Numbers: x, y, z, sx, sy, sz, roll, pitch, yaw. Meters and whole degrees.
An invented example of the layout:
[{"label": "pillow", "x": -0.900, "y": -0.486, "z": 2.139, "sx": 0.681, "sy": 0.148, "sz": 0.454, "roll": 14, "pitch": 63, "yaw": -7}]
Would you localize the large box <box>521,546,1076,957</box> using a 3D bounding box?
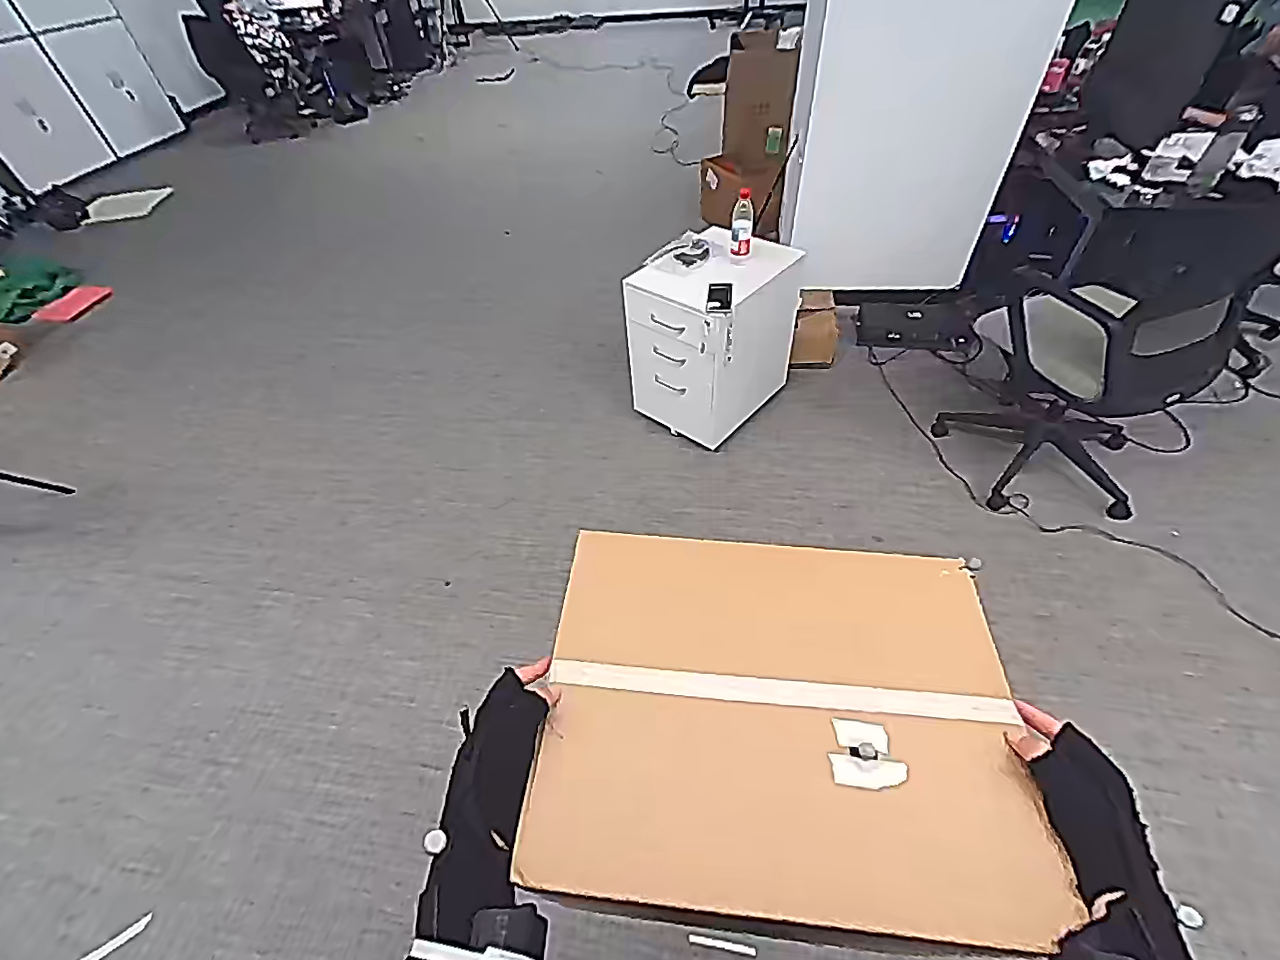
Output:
[{"label": "large box", "x": 0.119, "y": 0.296, "z": 0.593, "sx": 0.408, "sy": 0.320, "sz": 0.320, "roll": 4, "pitch": 50, "yaw": 4}]
